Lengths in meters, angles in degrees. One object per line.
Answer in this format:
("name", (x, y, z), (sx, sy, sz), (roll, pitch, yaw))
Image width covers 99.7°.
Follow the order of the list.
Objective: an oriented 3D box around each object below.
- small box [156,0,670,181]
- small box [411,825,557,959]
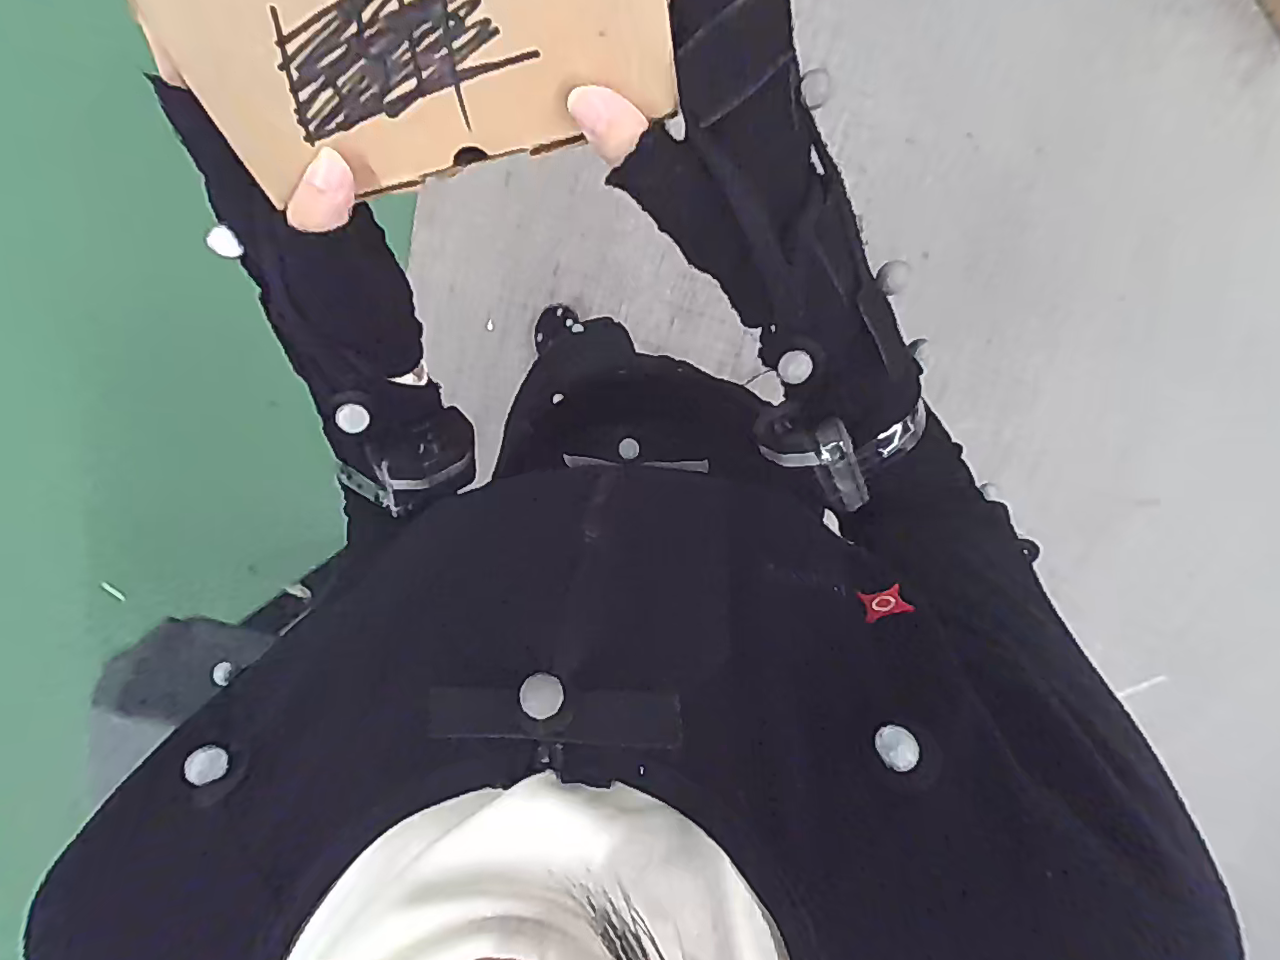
("small box", (-0.085, -0.247, 0.199), (0.168, 0.176, 0.179), (-10, 136, 8))
("small box", (-0.229, 0.665, 0.802), (0.168, 0.176, 0.179), (16, 106, -3))
